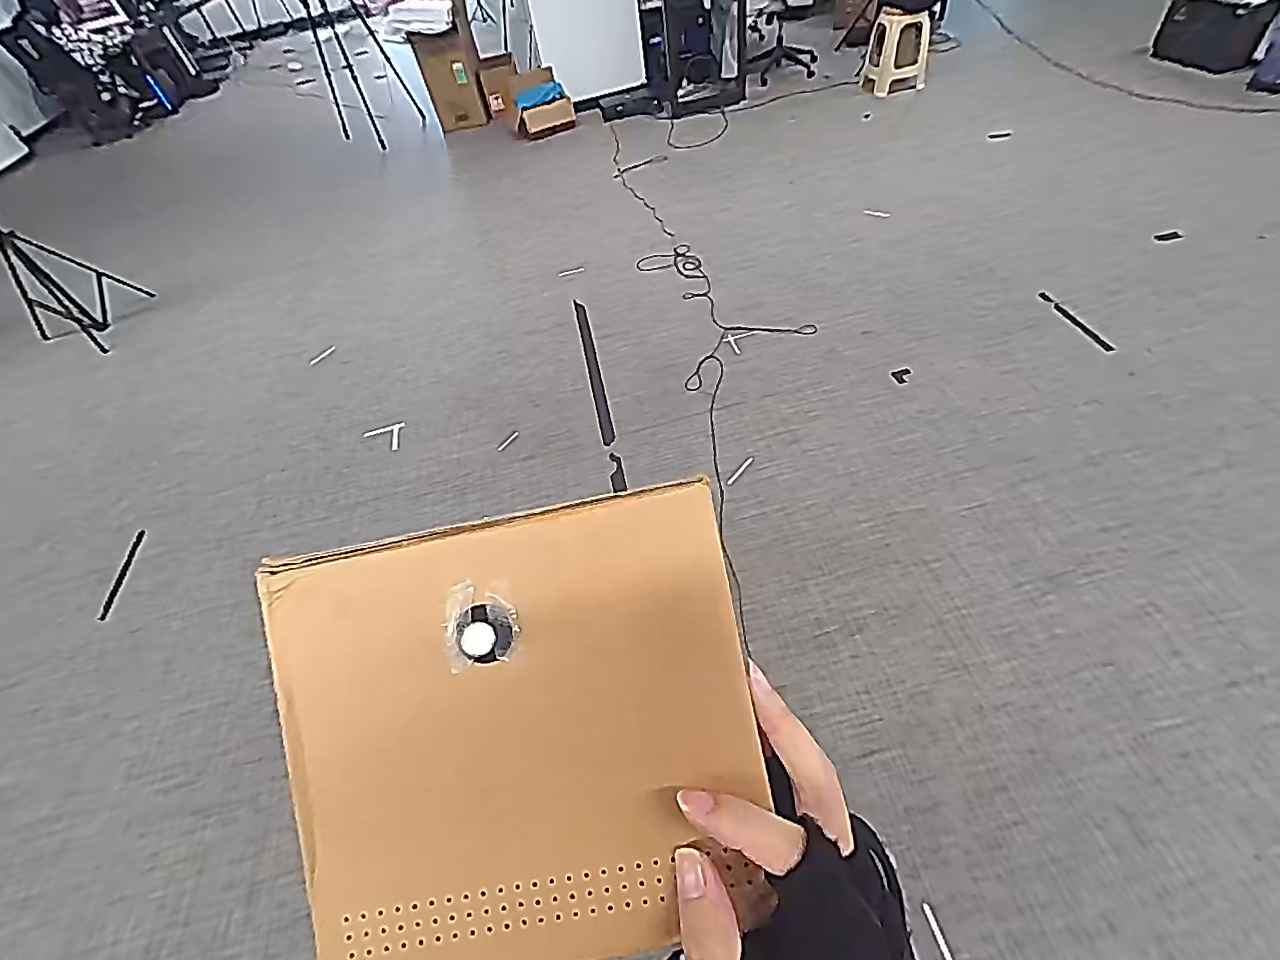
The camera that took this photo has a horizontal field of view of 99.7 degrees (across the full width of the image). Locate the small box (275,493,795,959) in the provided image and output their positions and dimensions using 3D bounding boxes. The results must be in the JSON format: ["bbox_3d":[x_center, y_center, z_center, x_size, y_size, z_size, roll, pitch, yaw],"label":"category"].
[{"bbox_3d":[-0.038,0.107,0.279,0.179,0.168,0.176,-11,88,2],"label":"small box"}]
